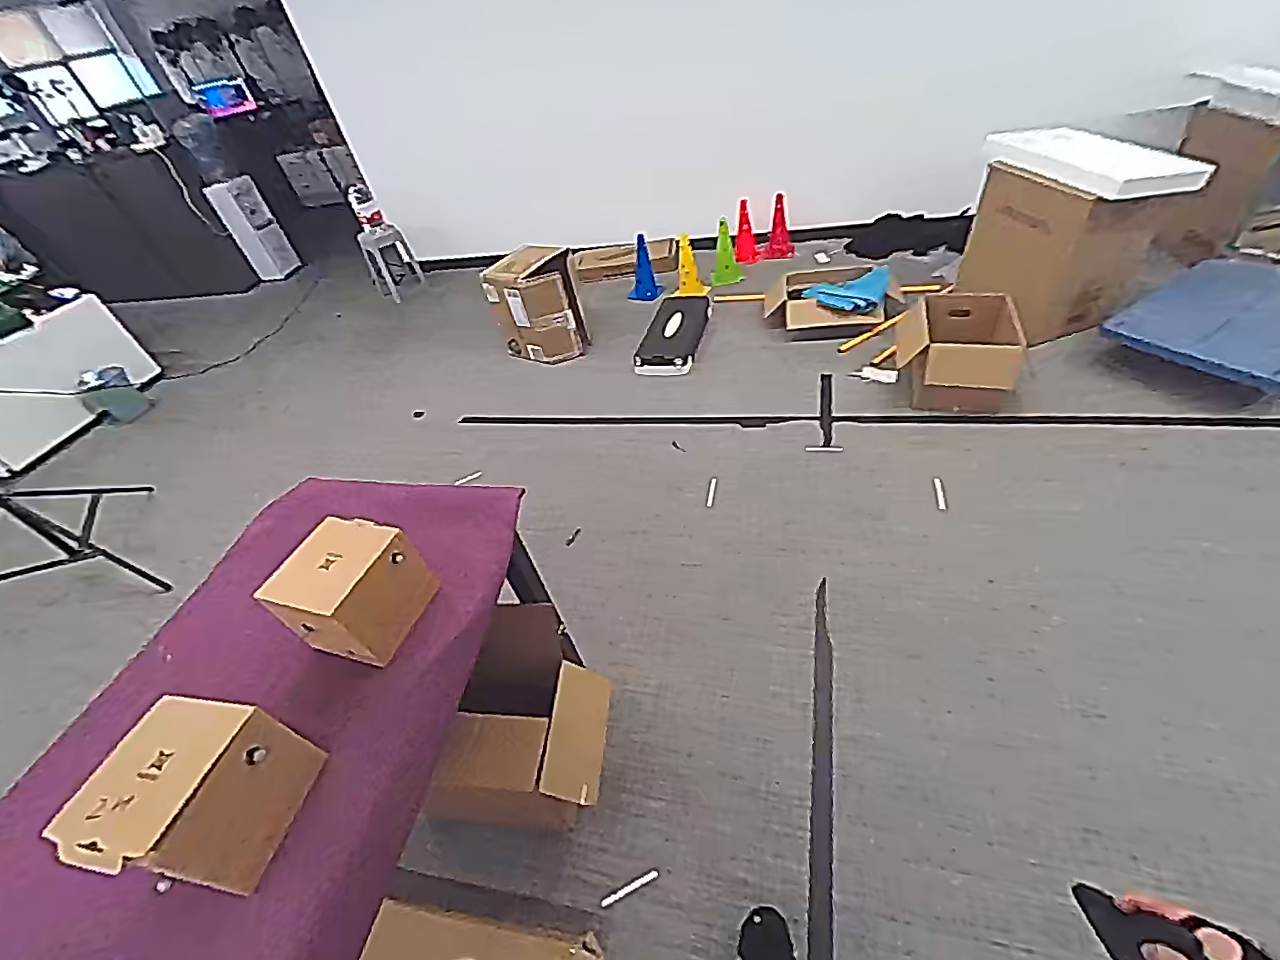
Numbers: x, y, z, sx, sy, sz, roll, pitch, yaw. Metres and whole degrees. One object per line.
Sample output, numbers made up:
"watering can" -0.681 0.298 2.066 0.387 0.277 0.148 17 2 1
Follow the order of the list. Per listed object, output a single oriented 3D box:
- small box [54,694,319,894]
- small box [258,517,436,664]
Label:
"small box" -0.568 0.410 0.712 0.168 0.176 0.179 -1 44 16
"small box" -0.484 0.189 0.926 0.168 0.176 0.179 6 46 19
